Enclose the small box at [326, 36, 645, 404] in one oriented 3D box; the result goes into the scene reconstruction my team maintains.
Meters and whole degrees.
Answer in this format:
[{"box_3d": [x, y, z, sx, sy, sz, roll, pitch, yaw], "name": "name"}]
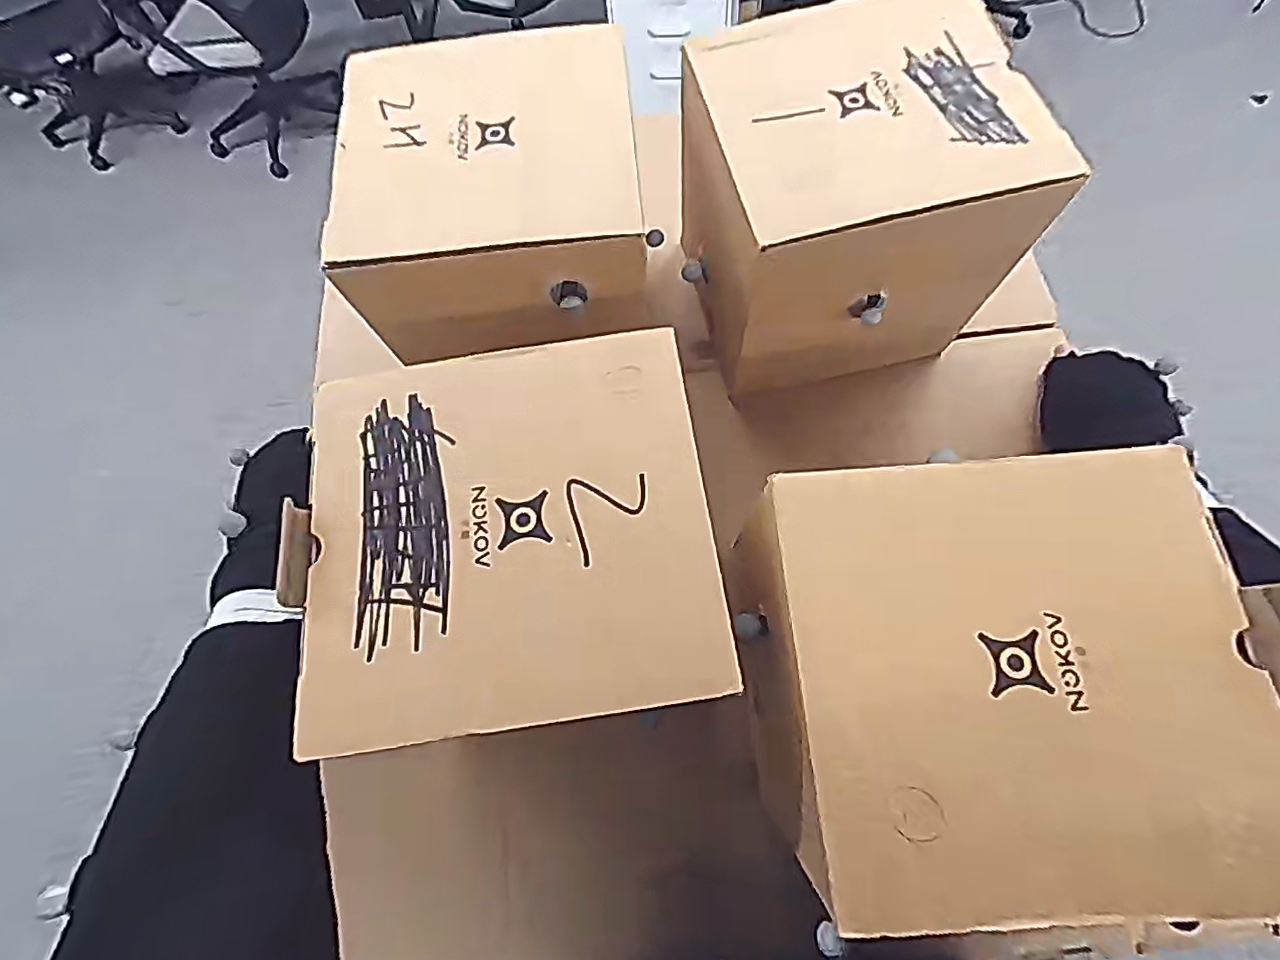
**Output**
[{"box_3d": [-0.088, -0.171, 0.397, 0.179, 0.176, 0.168, -6, 70, 3], "name": "small box"}]
